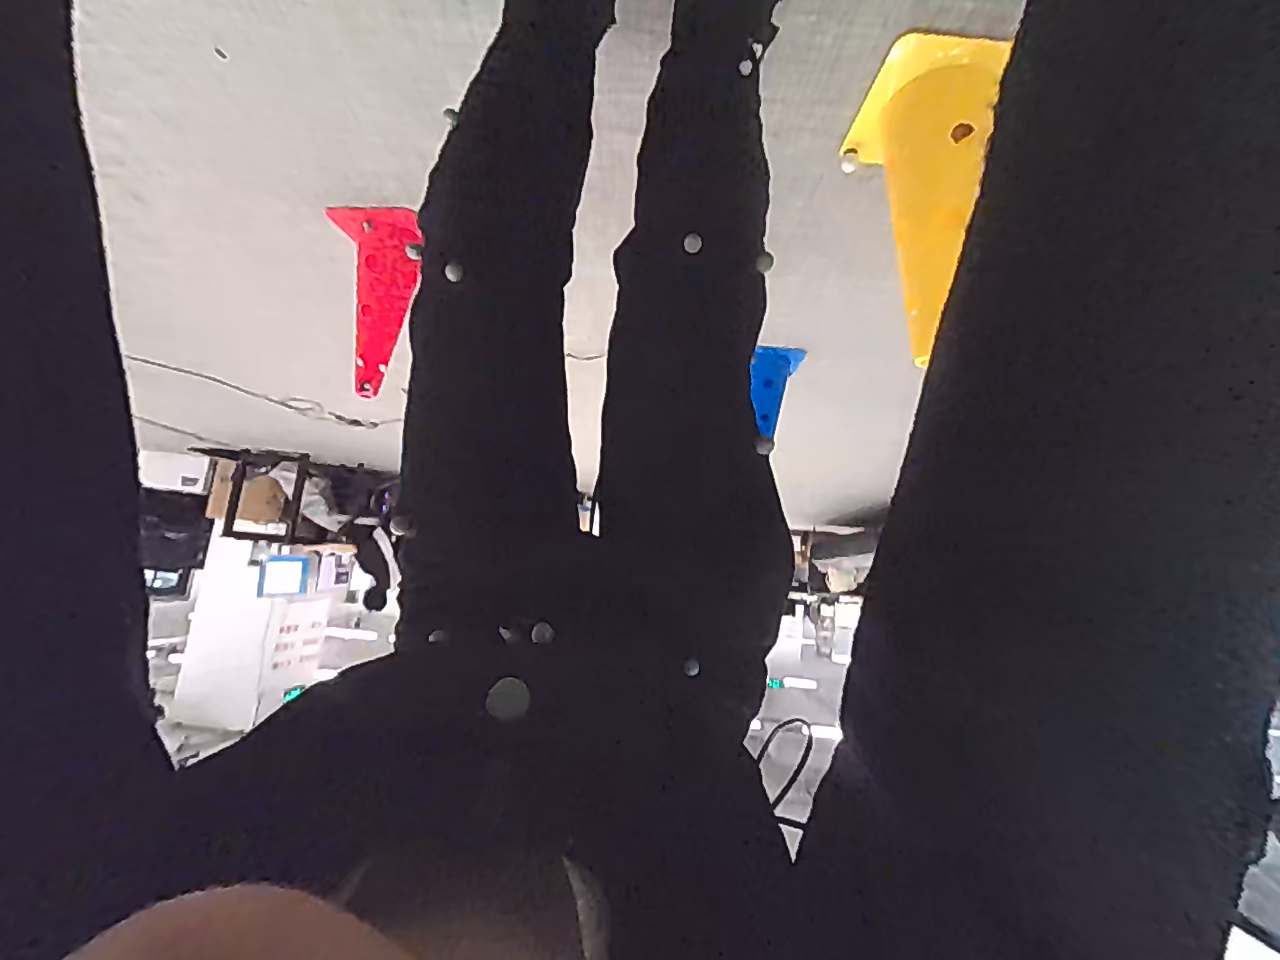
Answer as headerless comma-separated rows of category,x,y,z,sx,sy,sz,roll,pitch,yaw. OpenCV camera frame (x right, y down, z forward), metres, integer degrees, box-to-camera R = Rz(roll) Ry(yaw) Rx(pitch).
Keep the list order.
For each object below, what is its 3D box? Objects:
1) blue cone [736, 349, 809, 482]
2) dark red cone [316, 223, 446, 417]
blue cone,0.369,-0.183,1.560,0.192,0.380,0.193,5,171,2
dark red cone,-0.558,-0.318,1.110,0.202,0.394,0.201,4,167,10
